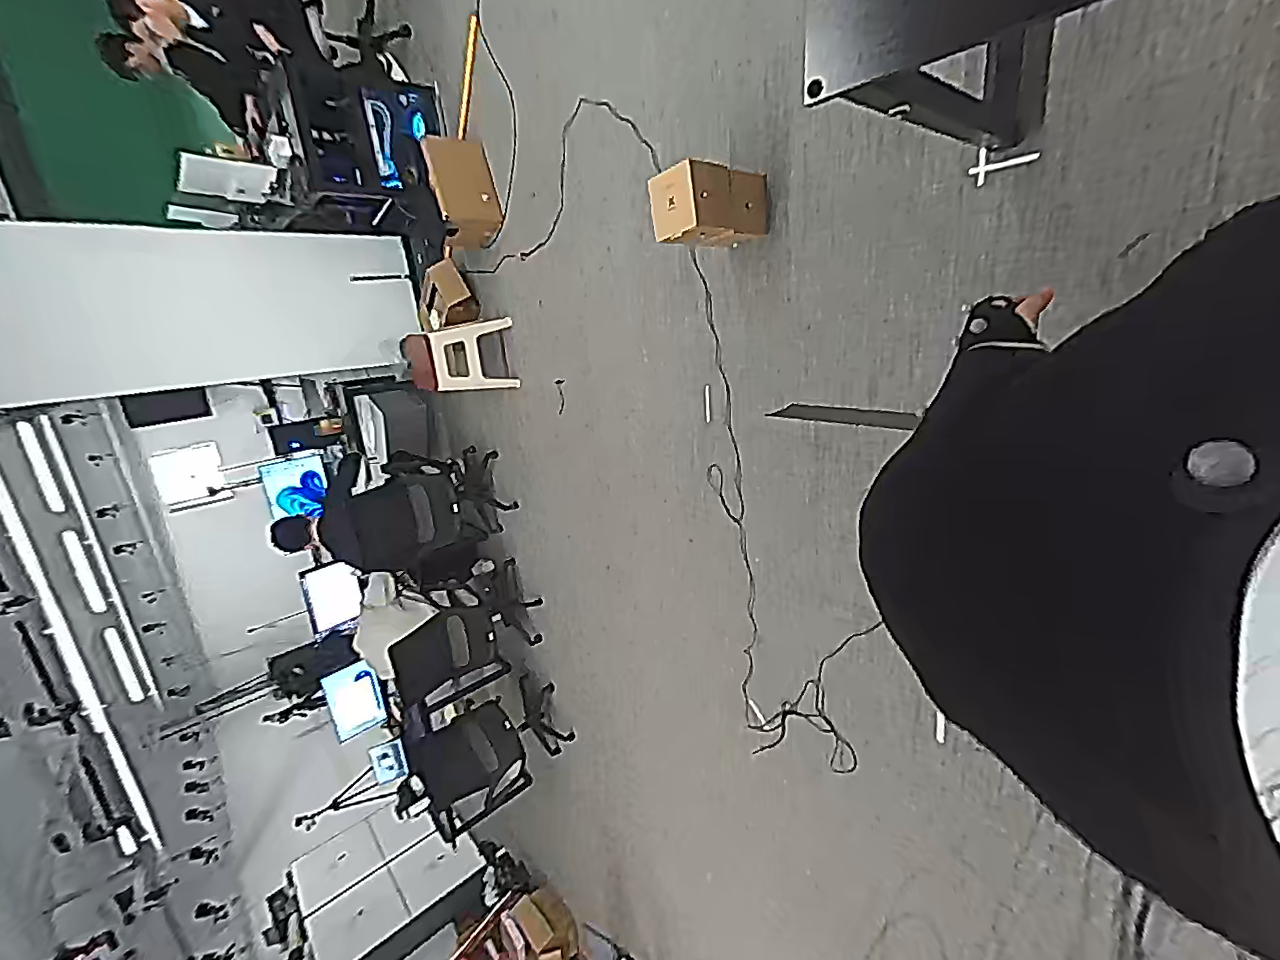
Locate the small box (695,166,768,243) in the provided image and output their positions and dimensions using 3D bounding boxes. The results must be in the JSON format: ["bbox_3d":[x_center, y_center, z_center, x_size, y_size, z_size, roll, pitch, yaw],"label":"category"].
[{"bbox_3d":[0.275,-0.834,1.656,0.168,0.176,0.179,9,112,49],"label":"small box"}]

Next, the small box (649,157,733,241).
[{"bbox_3d":[0.152,-0.799,1.555,0.168,0.176,0.179,5,107,49],"label":"small box"}]
